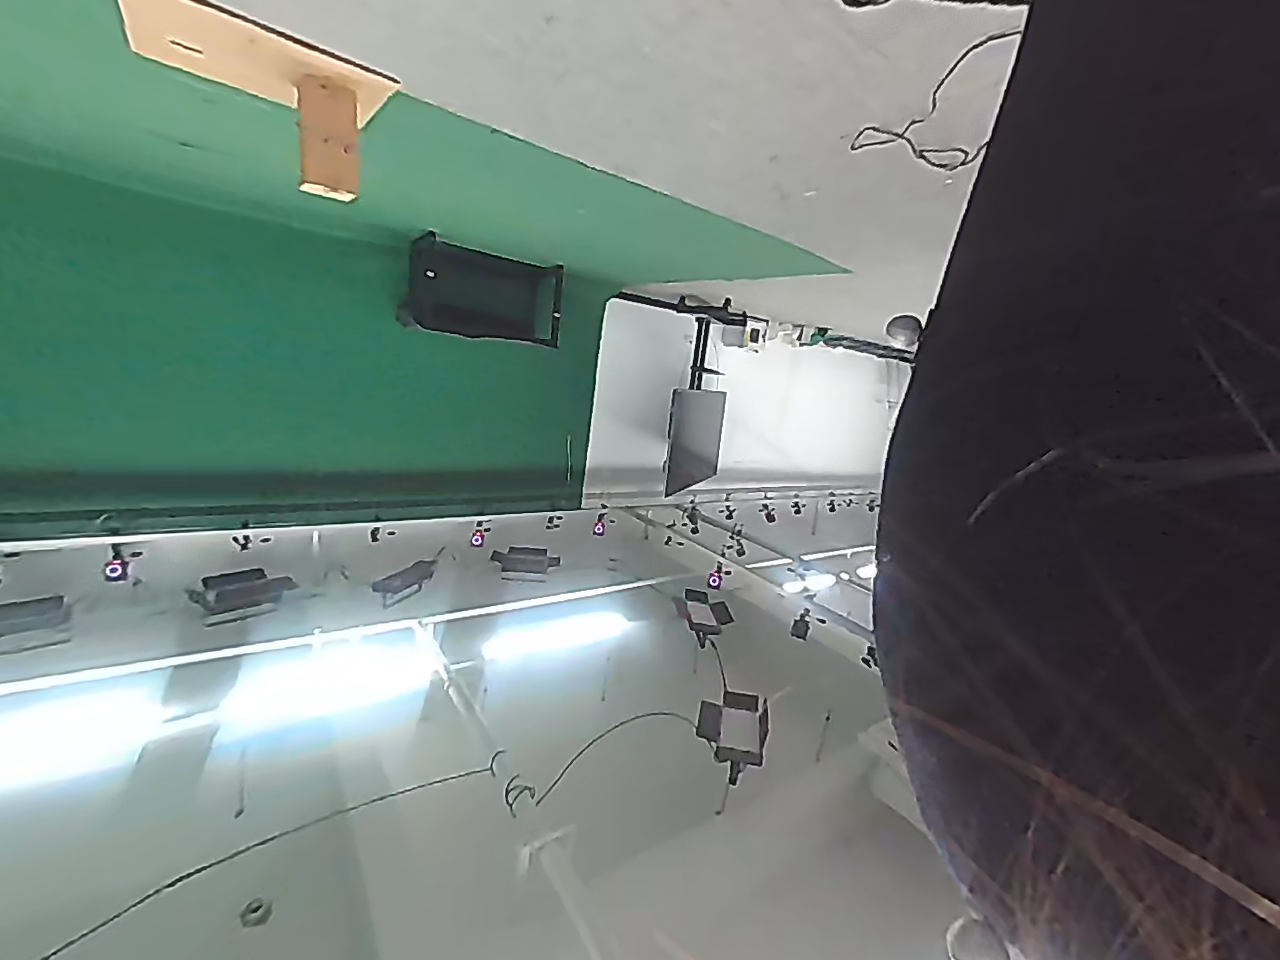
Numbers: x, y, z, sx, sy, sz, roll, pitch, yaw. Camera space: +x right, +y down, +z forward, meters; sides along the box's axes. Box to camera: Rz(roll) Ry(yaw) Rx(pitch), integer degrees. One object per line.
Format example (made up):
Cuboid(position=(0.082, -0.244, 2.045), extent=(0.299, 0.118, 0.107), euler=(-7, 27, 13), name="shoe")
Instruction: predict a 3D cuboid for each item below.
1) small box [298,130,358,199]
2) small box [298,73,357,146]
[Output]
Cuboid(position=(-1.135, -1.144, 1.963), extent=(0.168, 0.176, 0.179), euler=(-3, -163, -39), name="small box")
Cuboid(position=(-1.115, -1.303, 1.927), extent=(0.168, 0.176, 0.179), euler=(-3, -164, -37), name="small box")
